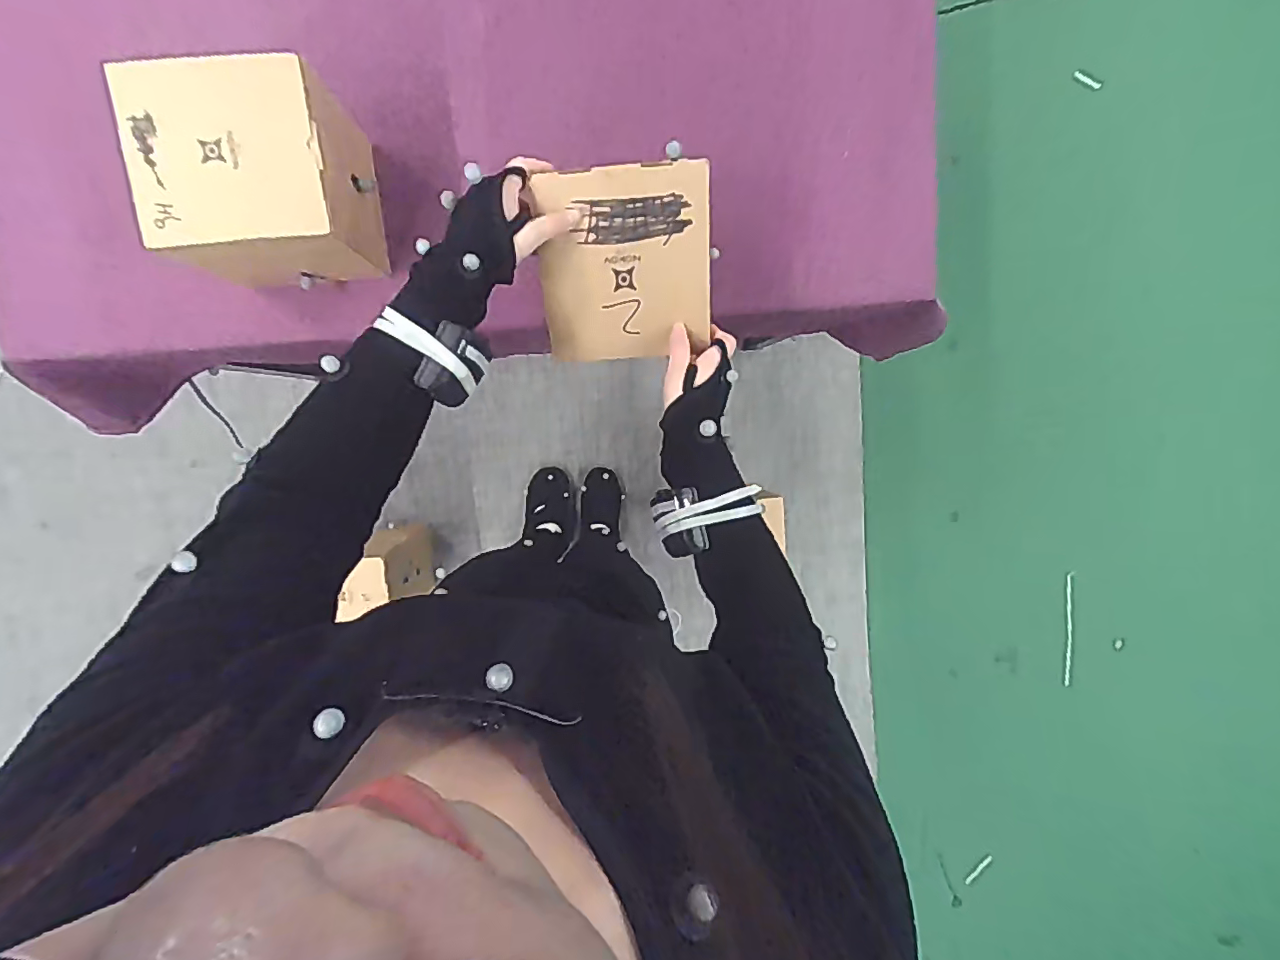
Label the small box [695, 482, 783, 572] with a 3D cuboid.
[{"bbox_3d":[0.233,0.107,1.296,0.168,0.176,0.179,-5,98,-7],"label":"small box"}]

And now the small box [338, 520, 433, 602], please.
[{"bbox_3d":[-0.640,0.207,1.378,0.168,0.176,0.179,-4,97,-6],"label":"small box"}]

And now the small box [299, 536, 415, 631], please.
[{"bbox_3d":[-0.626,0.226,1.215,0.179,0.176,0.168,-3,98,-6],"label":"small box"}]

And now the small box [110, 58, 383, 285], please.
[{"bbox_3d":[-0.402,-0.322,0.594,0.179,0.176,0.168,-7,98,-6],"label":"small box"}]

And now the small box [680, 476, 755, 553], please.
[{"bbox_3d":[0.206,0.087,1.456,0.179,0.176,0.168,-7,99,-6],"label":"small box"}]
